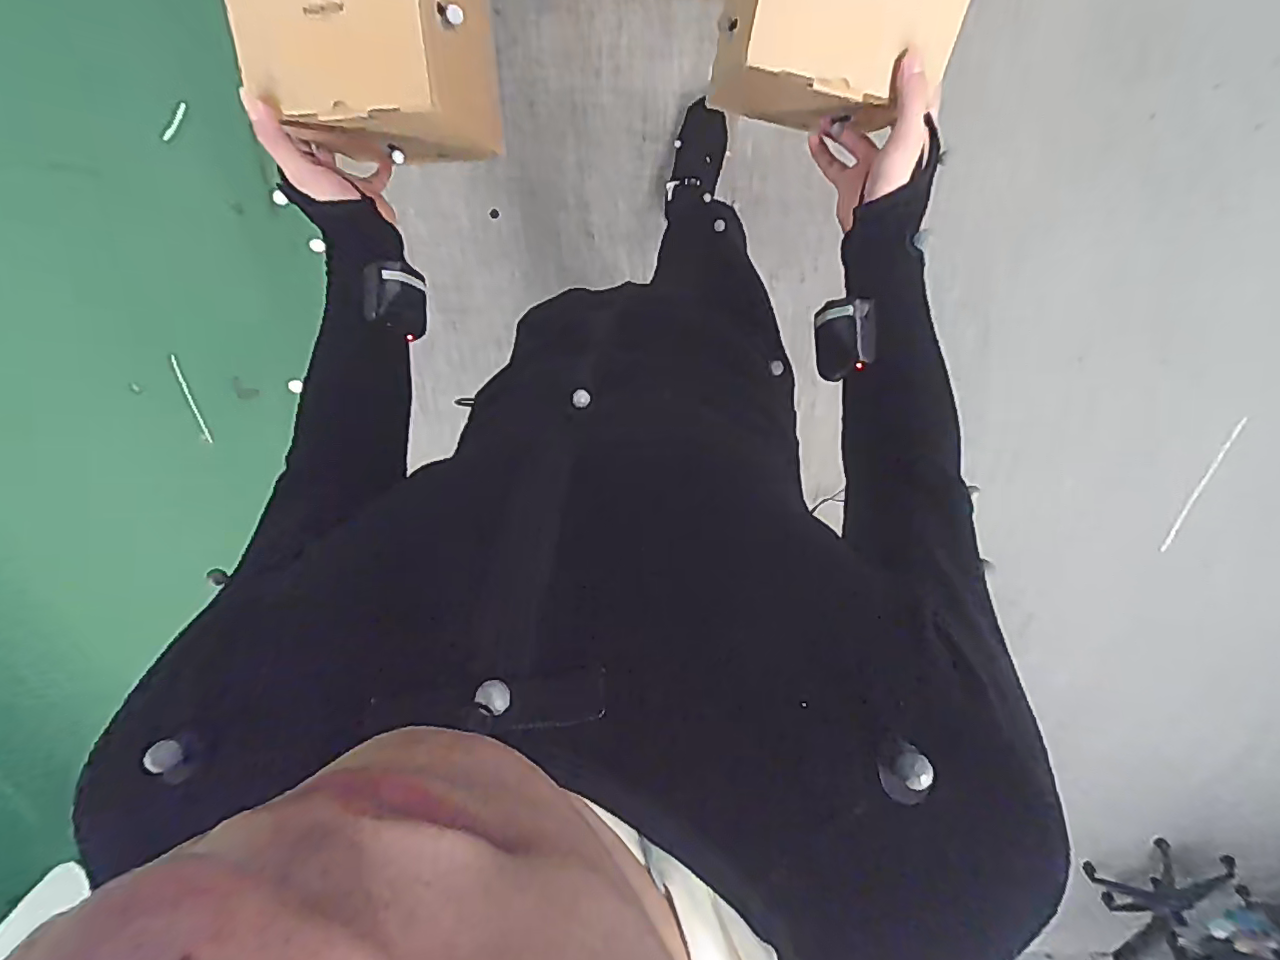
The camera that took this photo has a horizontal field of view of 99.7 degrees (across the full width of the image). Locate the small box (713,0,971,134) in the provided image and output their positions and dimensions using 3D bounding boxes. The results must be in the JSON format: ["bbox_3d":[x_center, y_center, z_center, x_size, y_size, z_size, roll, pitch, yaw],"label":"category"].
[{"bbox_3d":[0.170,-0.424,0.467,0.168,0.176,0.179,9,113,-9],"label":"small box"}]

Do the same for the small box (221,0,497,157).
[{"bbox_3d":[-0.241,-0.413,0.490,0.168,0.176,0.179,1,110,5],"label":"small box"}]

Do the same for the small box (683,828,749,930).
[{"bbox_3d":[0.202,1.077,1.464,0.168,0.176,0.179,-2,122,6],"label":"small box"}]
